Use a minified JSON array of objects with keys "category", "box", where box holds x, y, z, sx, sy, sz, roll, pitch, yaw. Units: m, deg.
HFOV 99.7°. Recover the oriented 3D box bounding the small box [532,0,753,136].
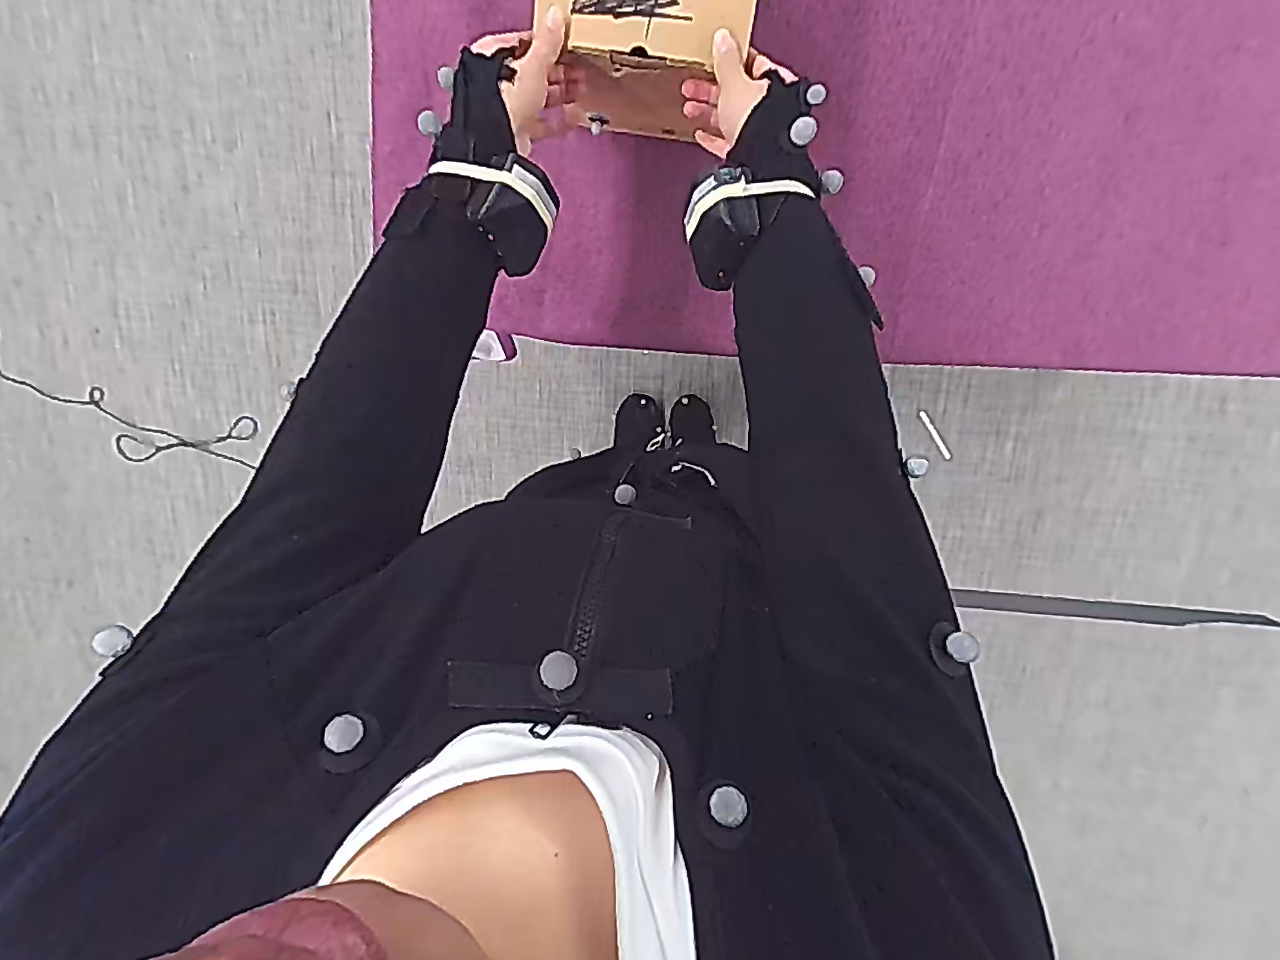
[{"category":"small box","box":[0.015,-0.426,0.464,0.168,0.176,0.179,9,104,1]}]
